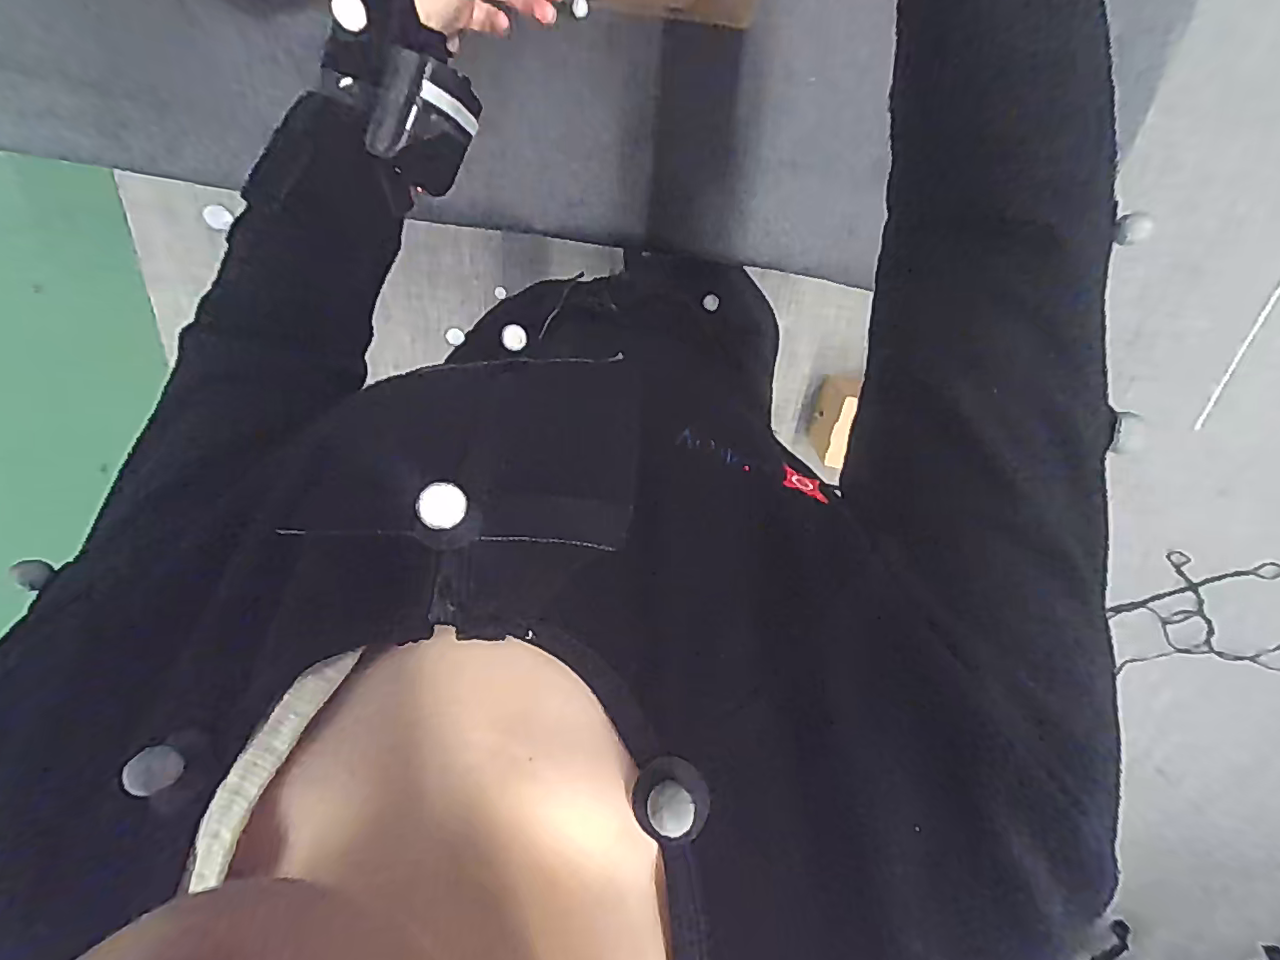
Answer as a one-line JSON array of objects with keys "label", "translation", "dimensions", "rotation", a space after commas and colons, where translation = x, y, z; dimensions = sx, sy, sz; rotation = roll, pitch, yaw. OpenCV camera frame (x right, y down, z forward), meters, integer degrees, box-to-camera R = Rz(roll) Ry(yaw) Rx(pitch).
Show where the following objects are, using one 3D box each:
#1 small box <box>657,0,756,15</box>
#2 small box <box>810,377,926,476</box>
[{"label": "small box", "translation": [0.015, -0.416, 0.321], "dimensions": [0.168, 0.176, 0.179], "rotation": [8, 116, 0]}, {"label": "small box", "translation": [0.511, -0.128, 1.240], "dimensions": [0.179, 0.176, 0.168], "rotation": [10, 116, 0]}]
